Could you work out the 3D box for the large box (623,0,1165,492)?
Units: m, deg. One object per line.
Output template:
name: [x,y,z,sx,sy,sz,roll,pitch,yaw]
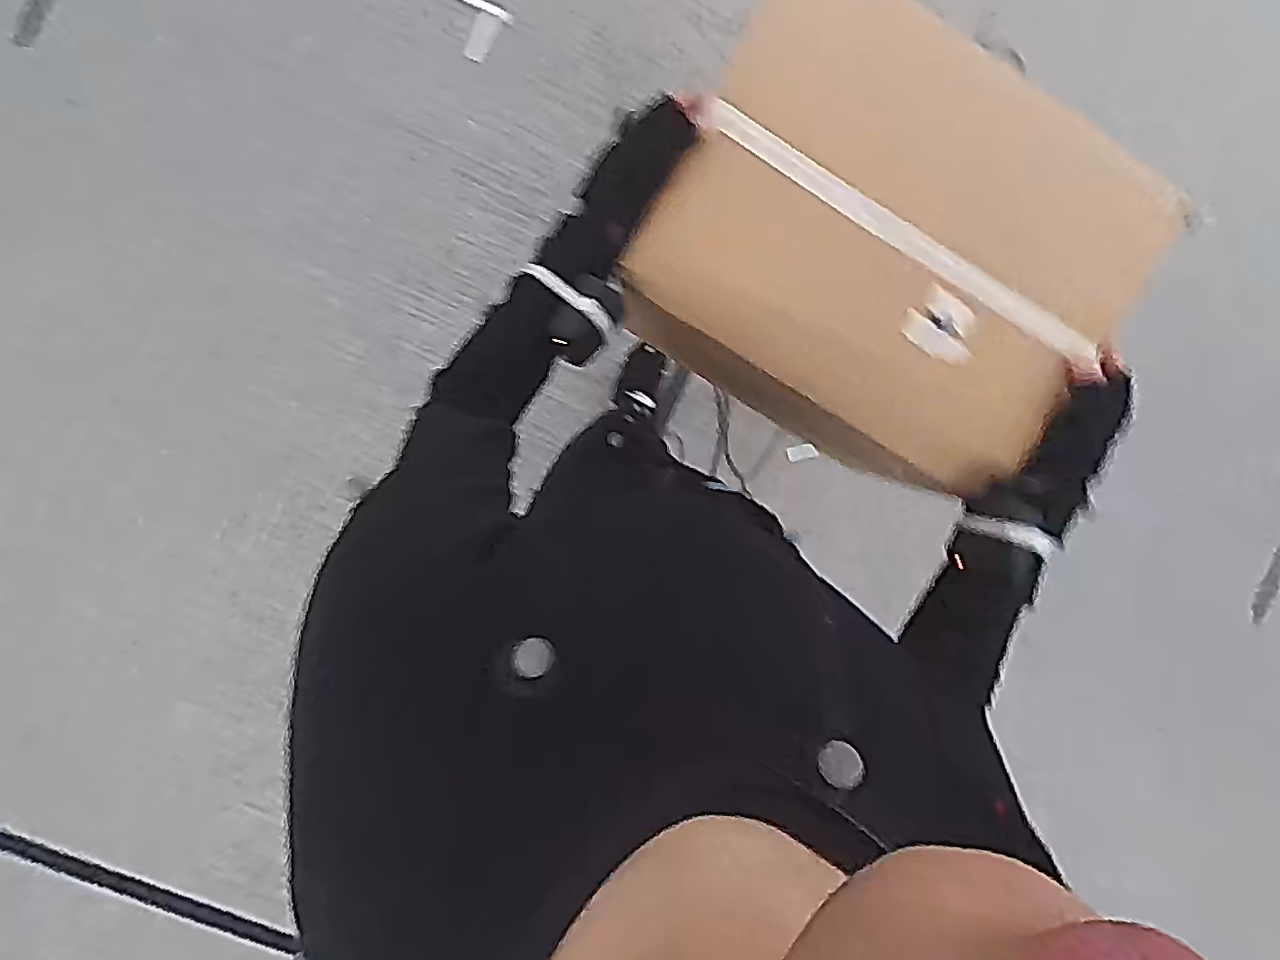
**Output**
large box: [0.224,-0.233,0.631,0.408,0.320,0.320,31,97,-6]
